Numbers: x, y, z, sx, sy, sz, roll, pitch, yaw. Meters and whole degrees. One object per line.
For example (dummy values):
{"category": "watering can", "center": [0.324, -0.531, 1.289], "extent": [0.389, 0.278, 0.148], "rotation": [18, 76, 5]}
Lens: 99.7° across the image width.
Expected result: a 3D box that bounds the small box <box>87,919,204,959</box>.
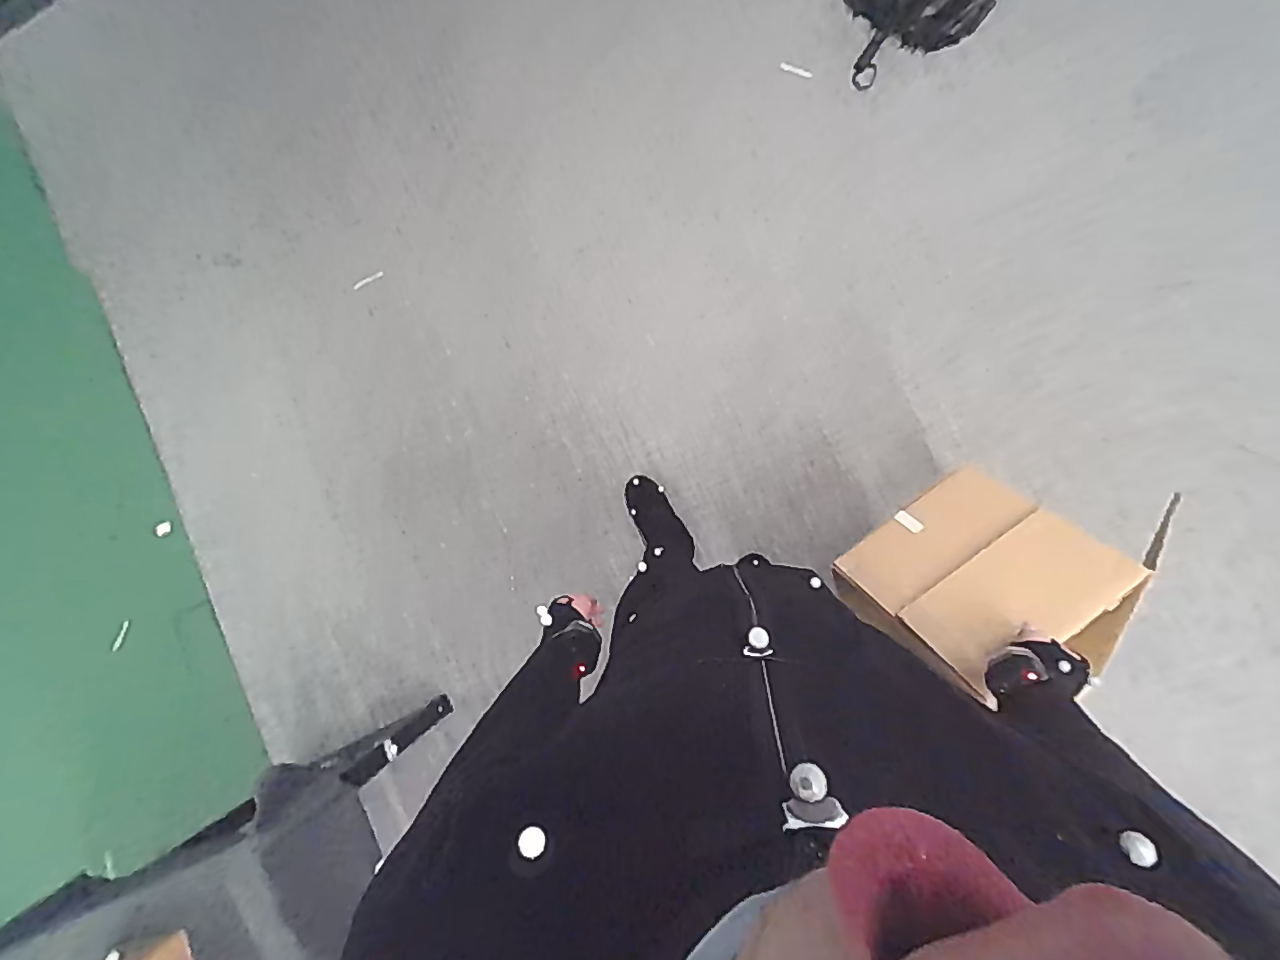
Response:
{"category": "small box", "center": [-0.808, 0.838, 0.832], "extent": [0.168, 0.176, 0.179], "rotation": [-19, 86, 6]}
